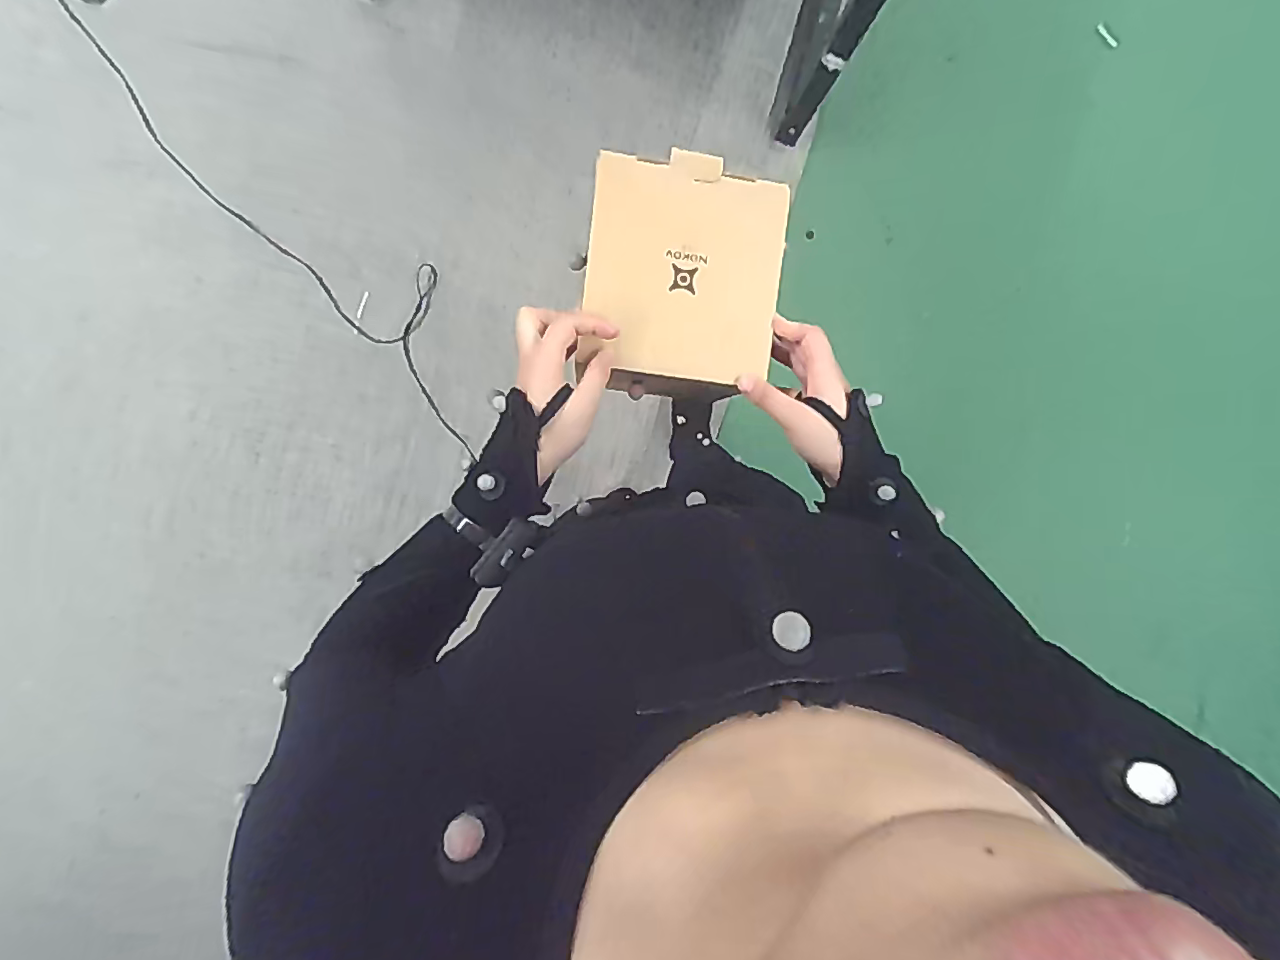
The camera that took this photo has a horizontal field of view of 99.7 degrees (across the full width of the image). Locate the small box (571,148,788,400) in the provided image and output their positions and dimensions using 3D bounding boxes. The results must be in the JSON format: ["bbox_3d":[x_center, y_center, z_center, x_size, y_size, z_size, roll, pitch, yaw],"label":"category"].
[{"bbox_3d":[0.026,-0.178,0.529,0.168,0.176,0.179,6,92,-7],"label":"small box"}]
